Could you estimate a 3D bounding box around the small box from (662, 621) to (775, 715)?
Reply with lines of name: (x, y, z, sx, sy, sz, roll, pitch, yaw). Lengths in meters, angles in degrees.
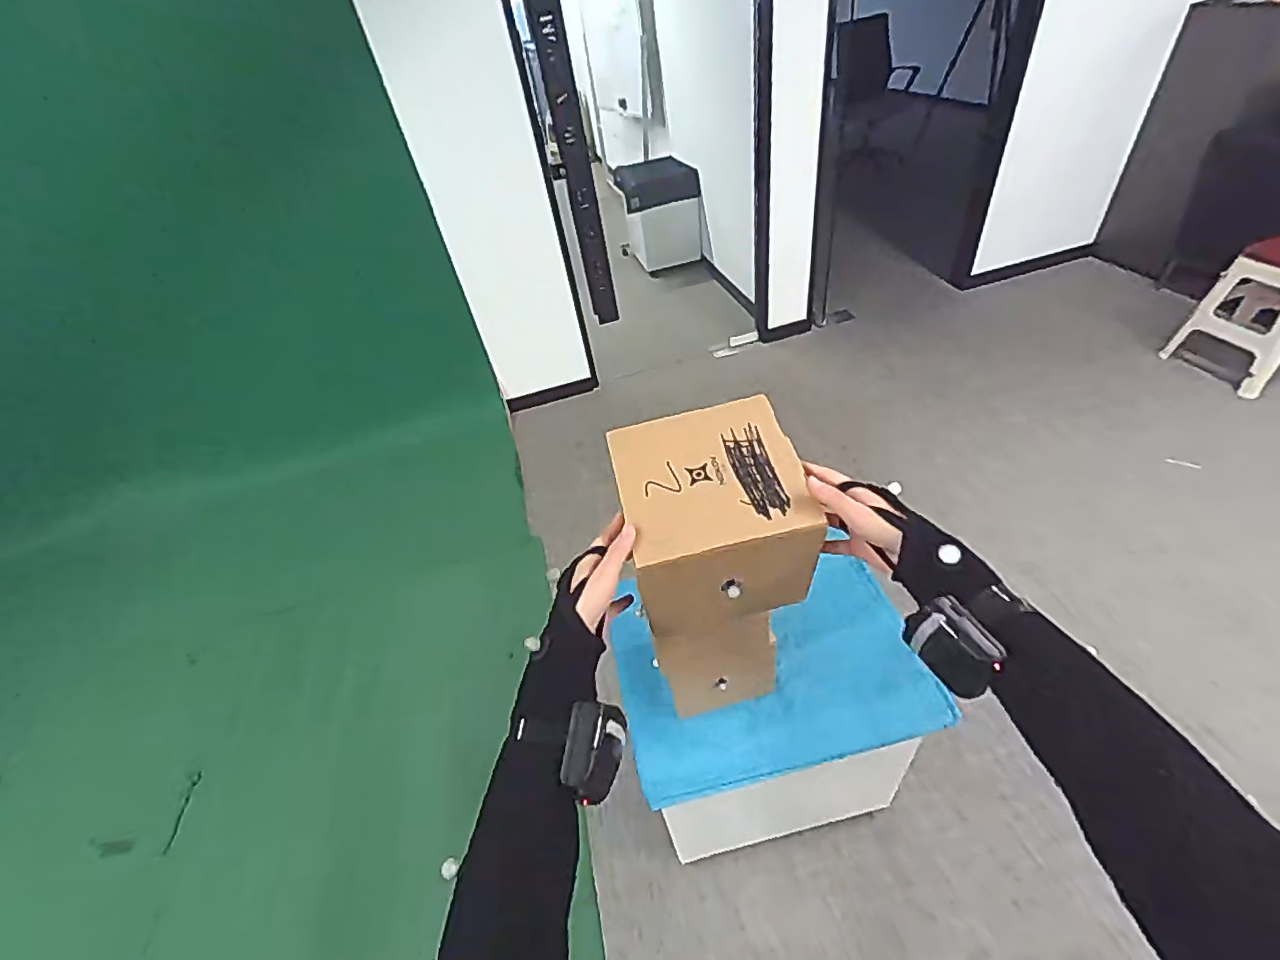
small box: (0.117, 0.273, 0.930, 0.179, 0.176, 0.168, -15, 42, -4)

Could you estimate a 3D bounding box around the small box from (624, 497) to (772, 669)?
small box: (0.085, 0.156, 0.819, 0.179, 0.176, 0.168, -15, 41, -4)
